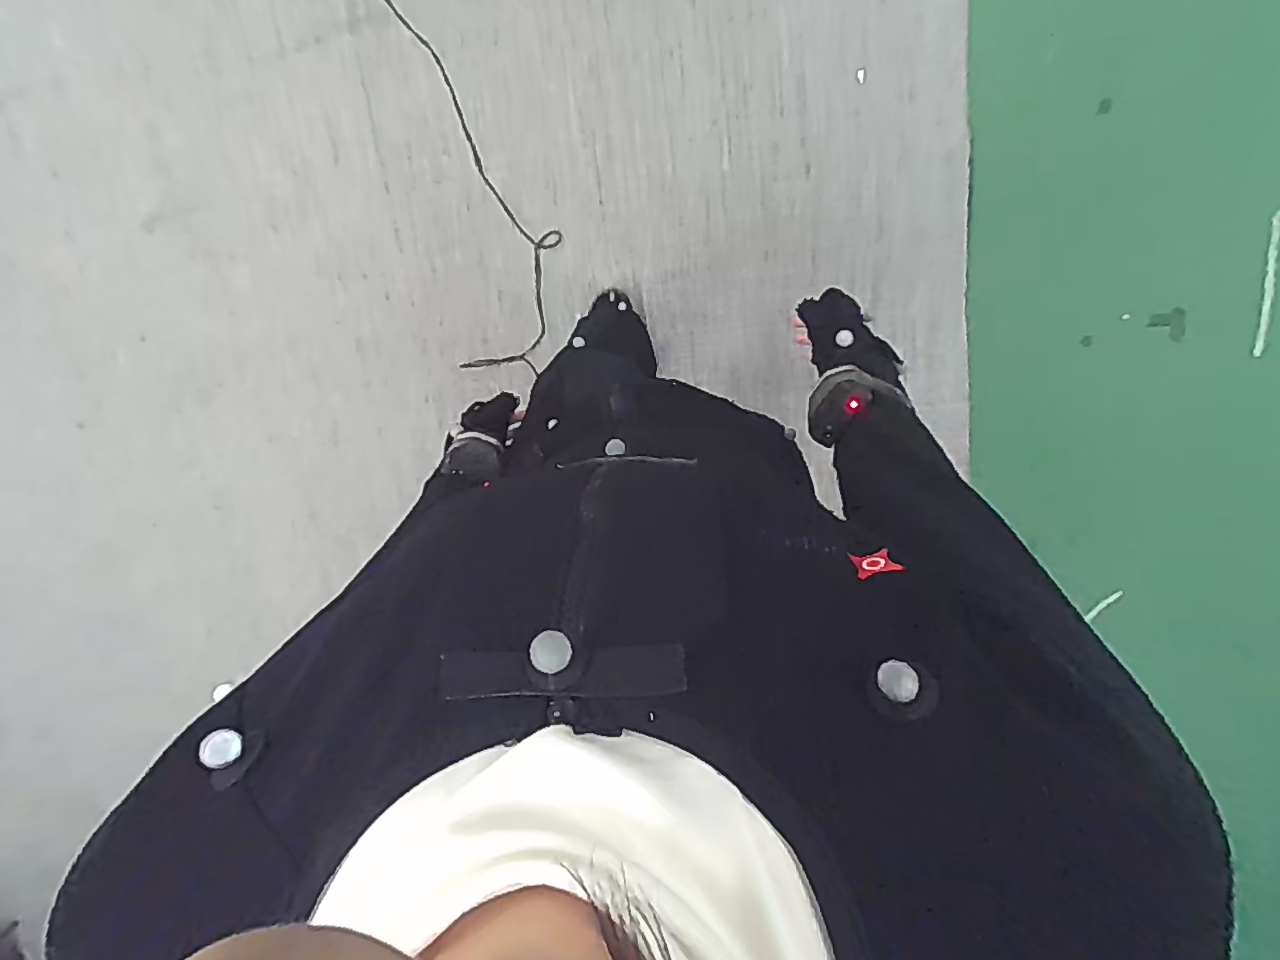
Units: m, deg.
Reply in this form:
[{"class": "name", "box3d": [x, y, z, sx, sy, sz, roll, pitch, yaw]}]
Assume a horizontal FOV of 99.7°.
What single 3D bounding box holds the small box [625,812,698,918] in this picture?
[{"class": "small box", "box3d": [0.061, 1.019, 1.441, 0.179, 0.176, 0.168, -5, 104, 5]}]
